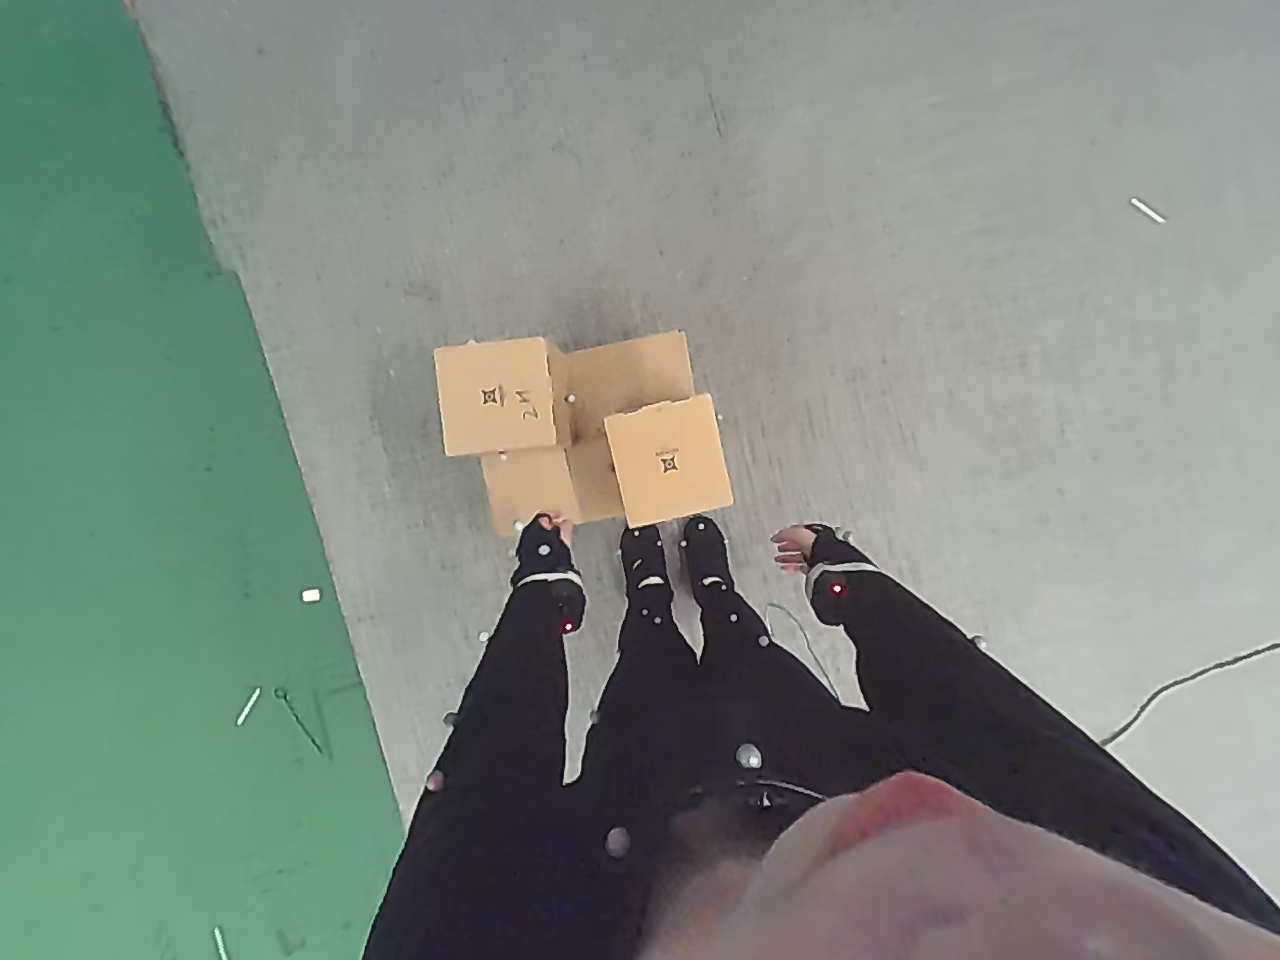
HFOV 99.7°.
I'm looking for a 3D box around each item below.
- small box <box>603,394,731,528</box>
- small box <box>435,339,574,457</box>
[{"bbox_3d":[0.044,-0.033,0.889,0.168,0.176,0.179,-13,93,3],"label":"small box"},{"bbox_3d":[-0.216,-0.126,0.896,0.179,0.176,0.168,-5,92,2],"label":"small box"}]
